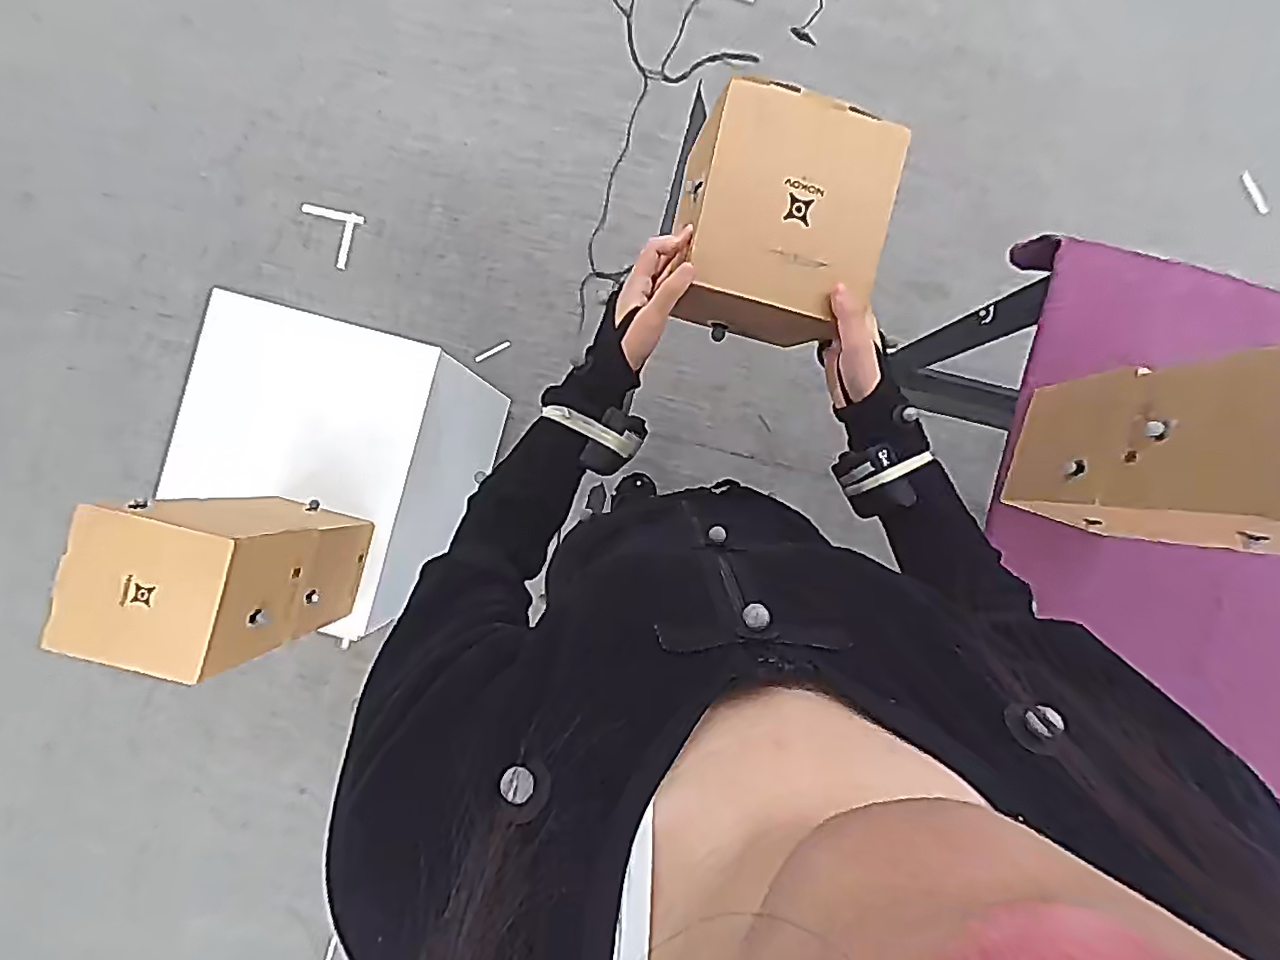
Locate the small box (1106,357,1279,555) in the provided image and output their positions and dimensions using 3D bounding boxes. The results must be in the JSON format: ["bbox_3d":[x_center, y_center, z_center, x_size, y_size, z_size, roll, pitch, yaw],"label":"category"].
[{"bbox_3d":[0.644,-0.019,0.547,0.179,0.176,0.168,17,89,0],"label":"small box"}]

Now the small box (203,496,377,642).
[{"bbox_3d":[-0.543,0.127,0.826,0.179,0.176,0.168,15,89,0],"label":"small box"}]

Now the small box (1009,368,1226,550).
[{"bbox_3d":[0.633,-0.023,0.711,0.168,0.176,0.179,18,89,-1],"label":"small box"}]

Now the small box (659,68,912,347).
[{"bbox_3d":[0.124,-0.242,0.533,0.168,0.176,0.179,12,96,-9],"label":"small box"}]

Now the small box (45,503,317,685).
[{"bbox_3d":[-0.537,0.124,0.662,0.179,0.176,0.168,14,89,-1],"label":"small box"}]
